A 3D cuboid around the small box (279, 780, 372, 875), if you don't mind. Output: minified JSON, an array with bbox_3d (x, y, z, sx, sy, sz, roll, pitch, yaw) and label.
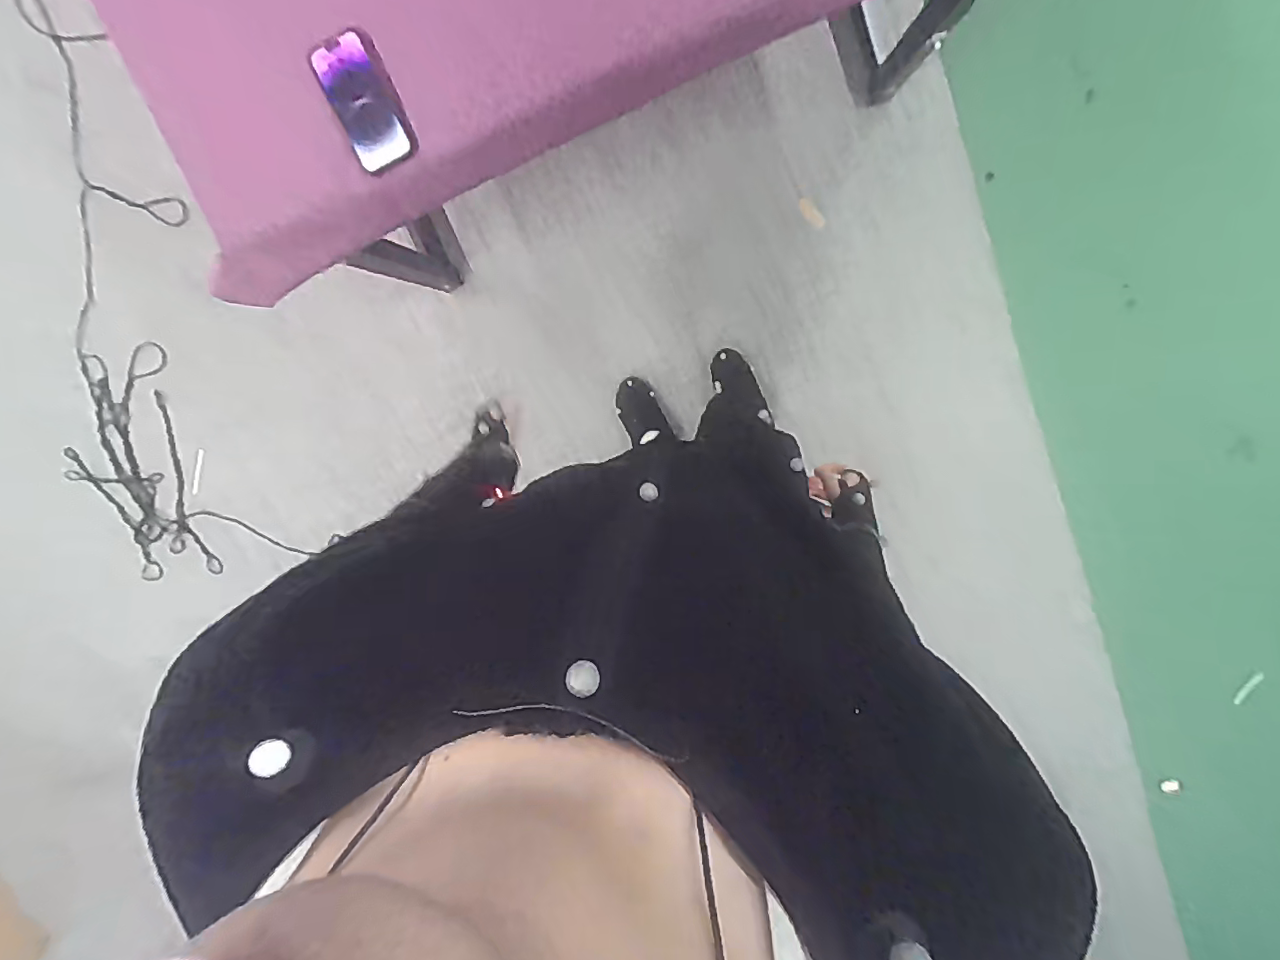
[{"bbox_3d":[-0.989,1.080,1.699,0.168,0.176,0.179,-23,102,8],"label":"small box"}]
